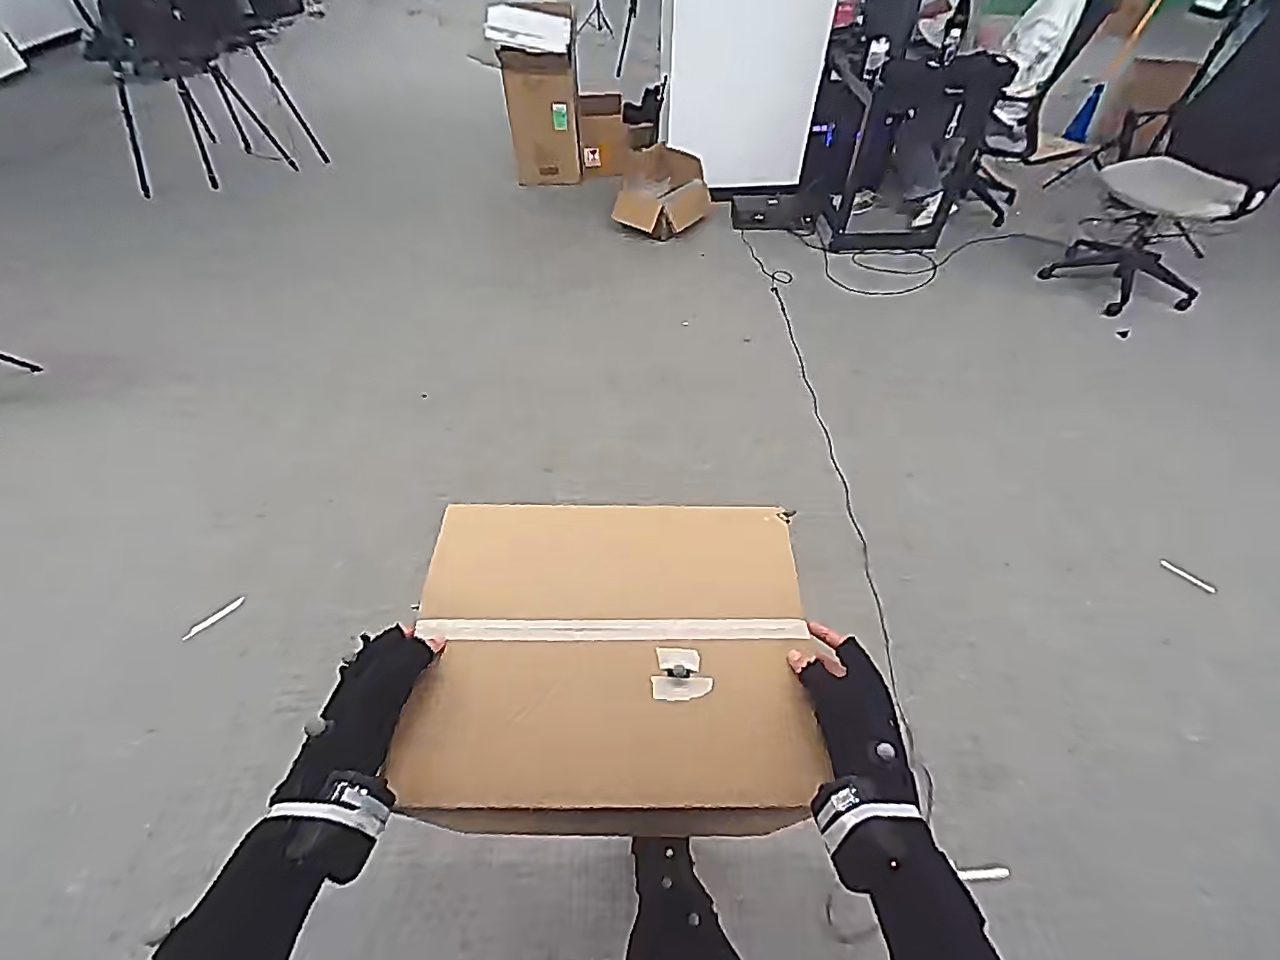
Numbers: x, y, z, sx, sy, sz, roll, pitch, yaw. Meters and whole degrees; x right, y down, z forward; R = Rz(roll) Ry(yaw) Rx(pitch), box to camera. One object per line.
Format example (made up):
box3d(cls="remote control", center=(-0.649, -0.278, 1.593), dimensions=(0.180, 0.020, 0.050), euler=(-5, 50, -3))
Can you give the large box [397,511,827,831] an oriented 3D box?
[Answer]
box3d(cls="large box", center=(-0.032, 0.252, 0.698), dimensions=(0.408, 0.320, 0.320), euler=(1, 53, -2))
